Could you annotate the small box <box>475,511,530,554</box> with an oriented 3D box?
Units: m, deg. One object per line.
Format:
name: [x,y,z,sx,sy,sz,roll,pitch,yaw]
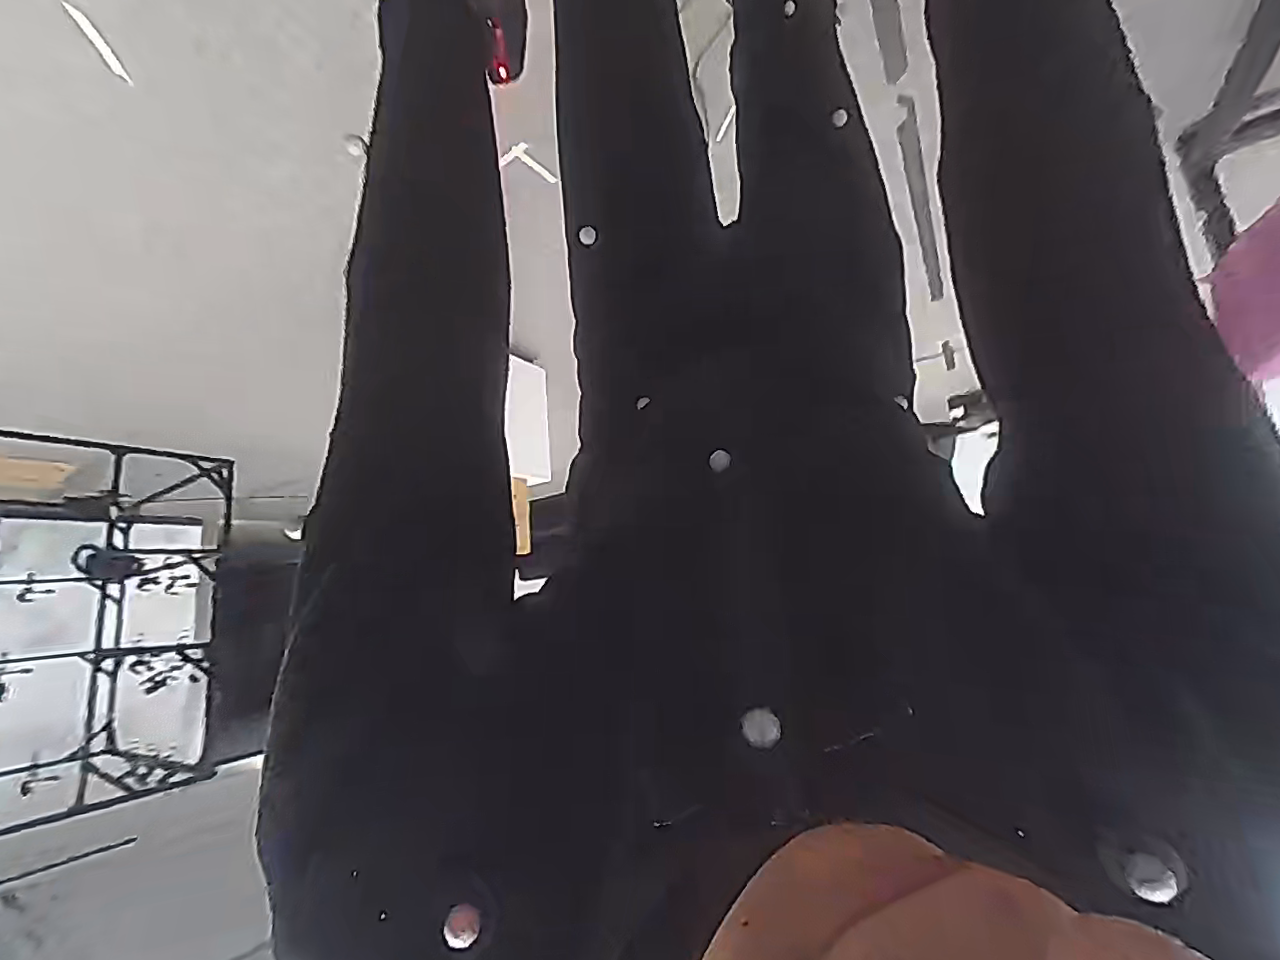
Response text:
small box: [-0.605,0.236,2.384,0.179,0.176,0.168,-11,169,28]
